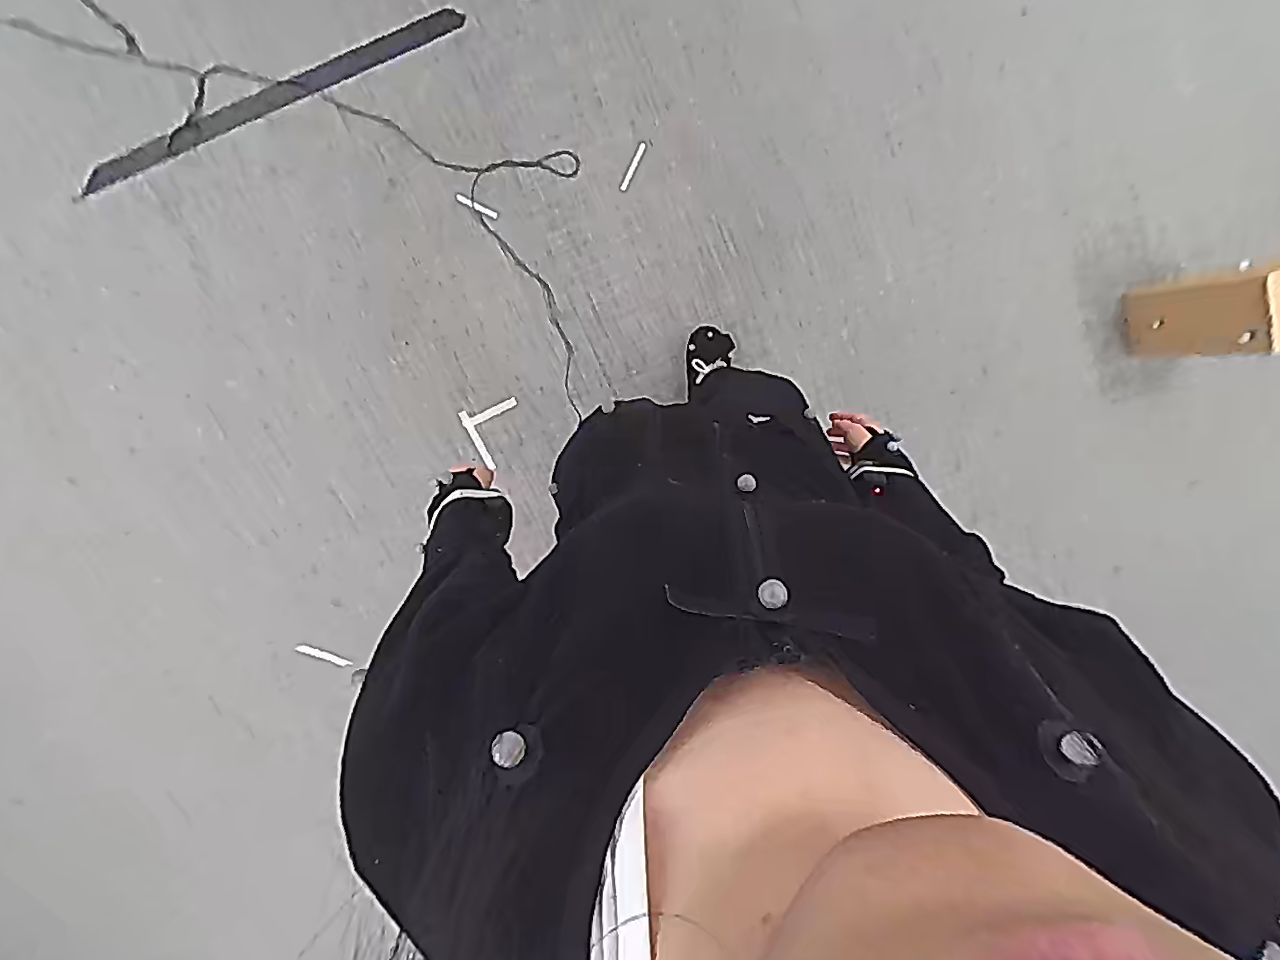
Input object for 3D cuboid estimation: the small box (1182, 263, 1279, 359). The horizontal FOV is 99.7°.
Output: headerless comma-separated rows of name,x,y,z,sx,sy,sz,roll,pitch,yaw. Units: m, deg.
small box,1.384,-0.380,1.214,0.168,0.176,0.179,-19,101,1
